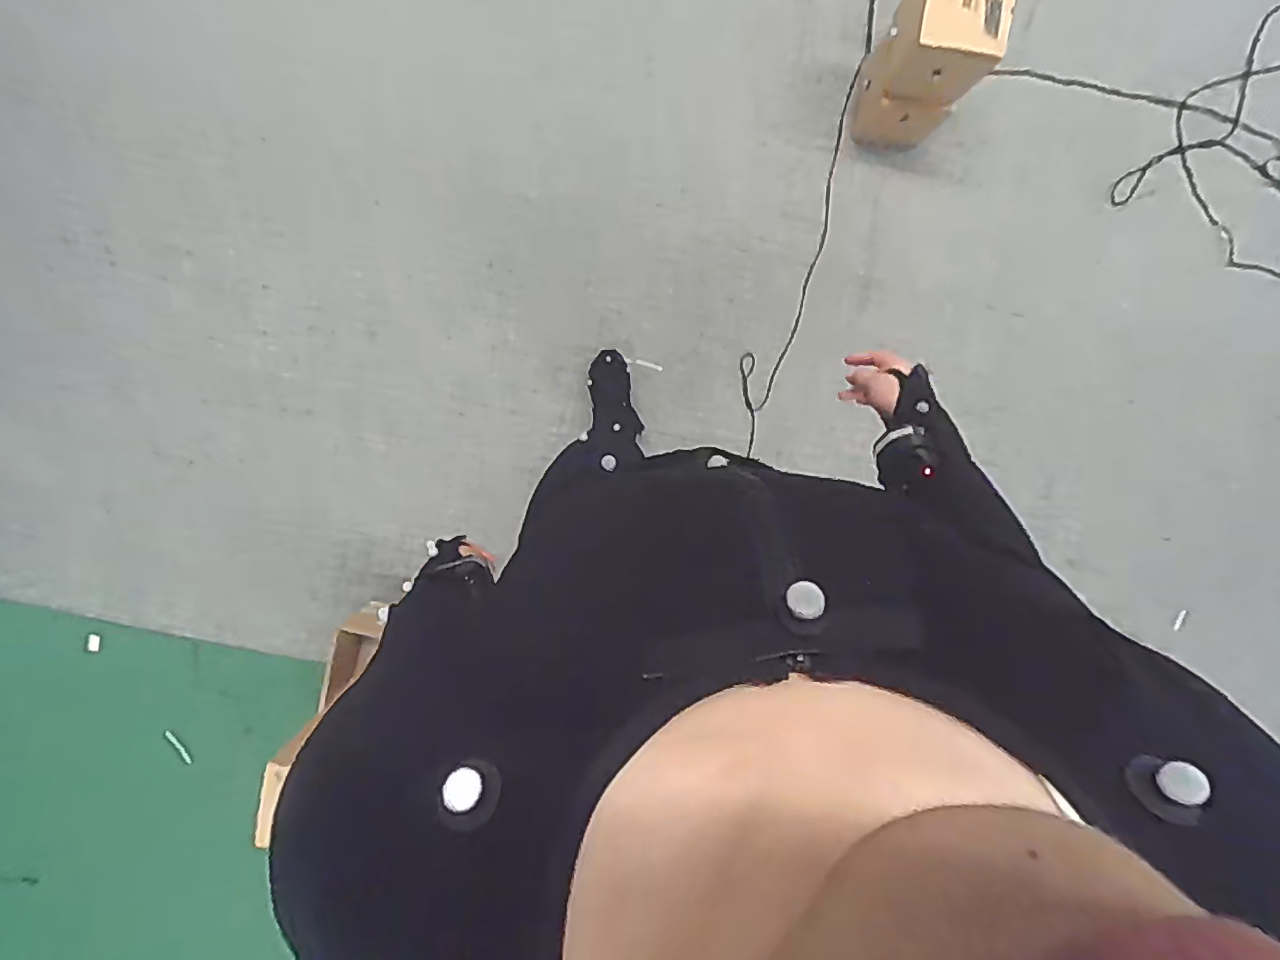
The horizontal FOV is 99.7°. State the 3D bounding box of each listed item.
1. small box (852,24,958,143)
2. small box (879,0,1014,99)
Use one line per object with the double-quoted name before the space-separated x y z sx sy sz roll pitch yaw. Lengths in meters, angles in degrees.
"small box" 0.619 -0.920 1.267 0.179 0.176 0.168 4 98 -2
"small box" 0.620 -0.917 1.103 0.179 0.176 0.168 8 97 -1
